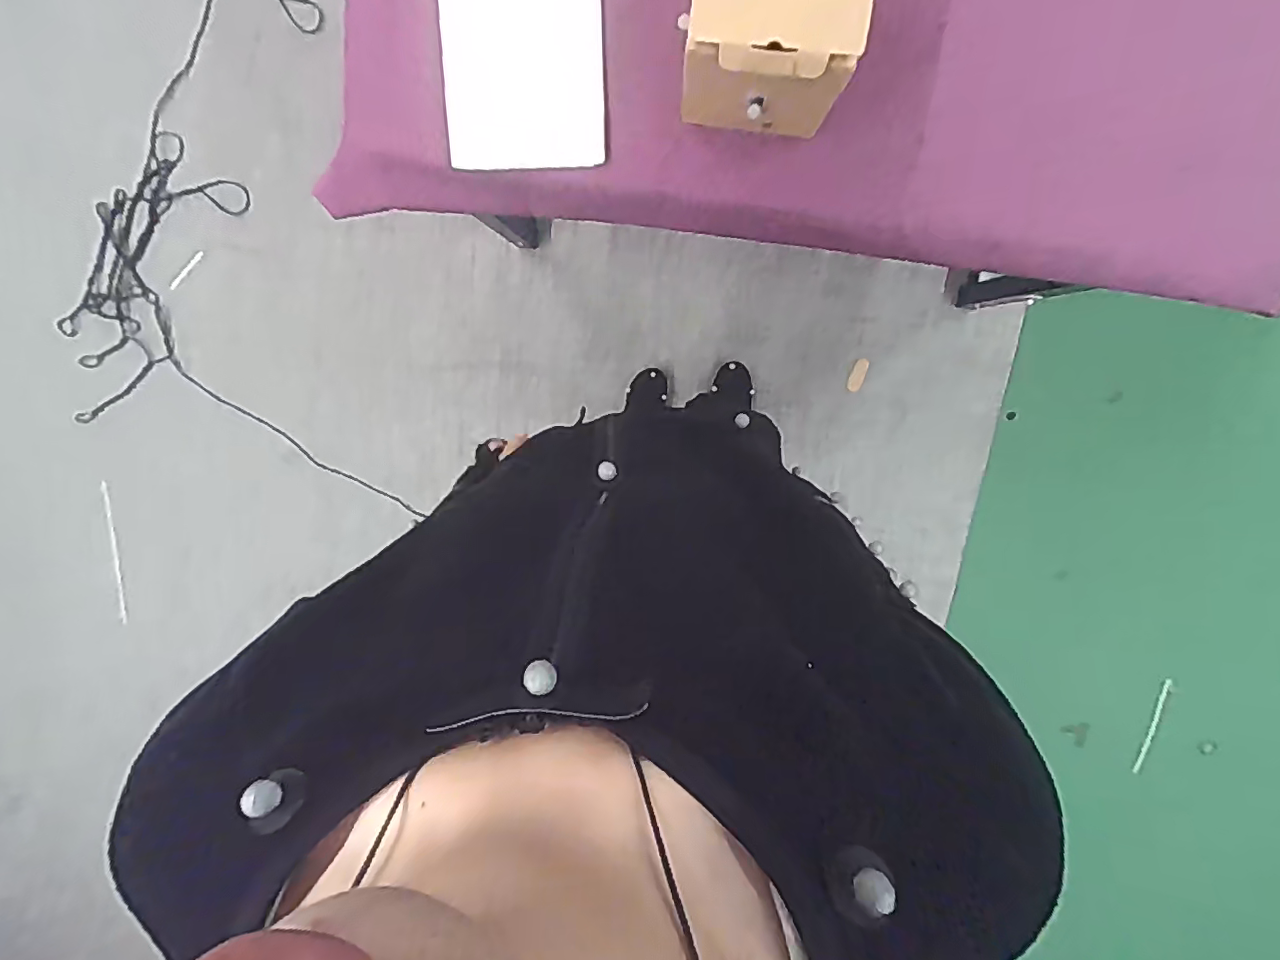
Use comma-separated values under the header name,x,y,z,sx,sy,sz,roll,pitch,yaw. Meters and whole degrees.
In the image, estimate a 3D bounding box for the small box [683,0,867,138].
name,x,y,z,sx,sy,sz,roll,pitch,yaw
small box,0.140,-0.497,0.579,0.168,0.176,0.179,8,103,1
